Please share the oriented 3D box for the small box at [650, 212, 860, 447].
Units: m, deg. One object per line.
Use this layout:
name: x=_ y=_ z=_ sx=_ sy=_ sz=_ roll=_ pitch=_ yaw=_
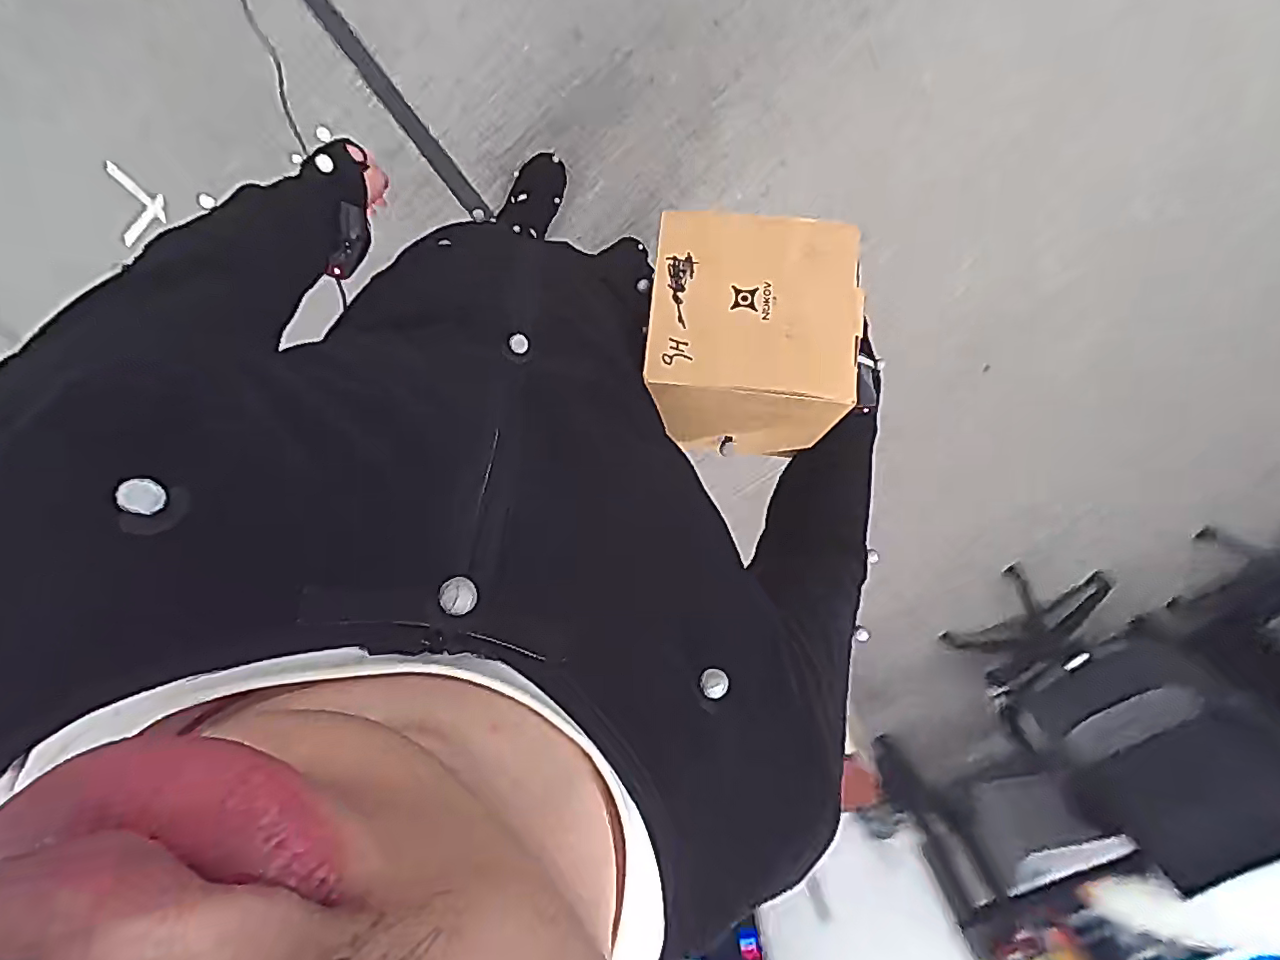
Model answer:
small box: x=0.104 y=-0.138 z=0.547 sx=0.179 sy=0.176 sz=0.168 roll=5 pitch=76 yaw=3
